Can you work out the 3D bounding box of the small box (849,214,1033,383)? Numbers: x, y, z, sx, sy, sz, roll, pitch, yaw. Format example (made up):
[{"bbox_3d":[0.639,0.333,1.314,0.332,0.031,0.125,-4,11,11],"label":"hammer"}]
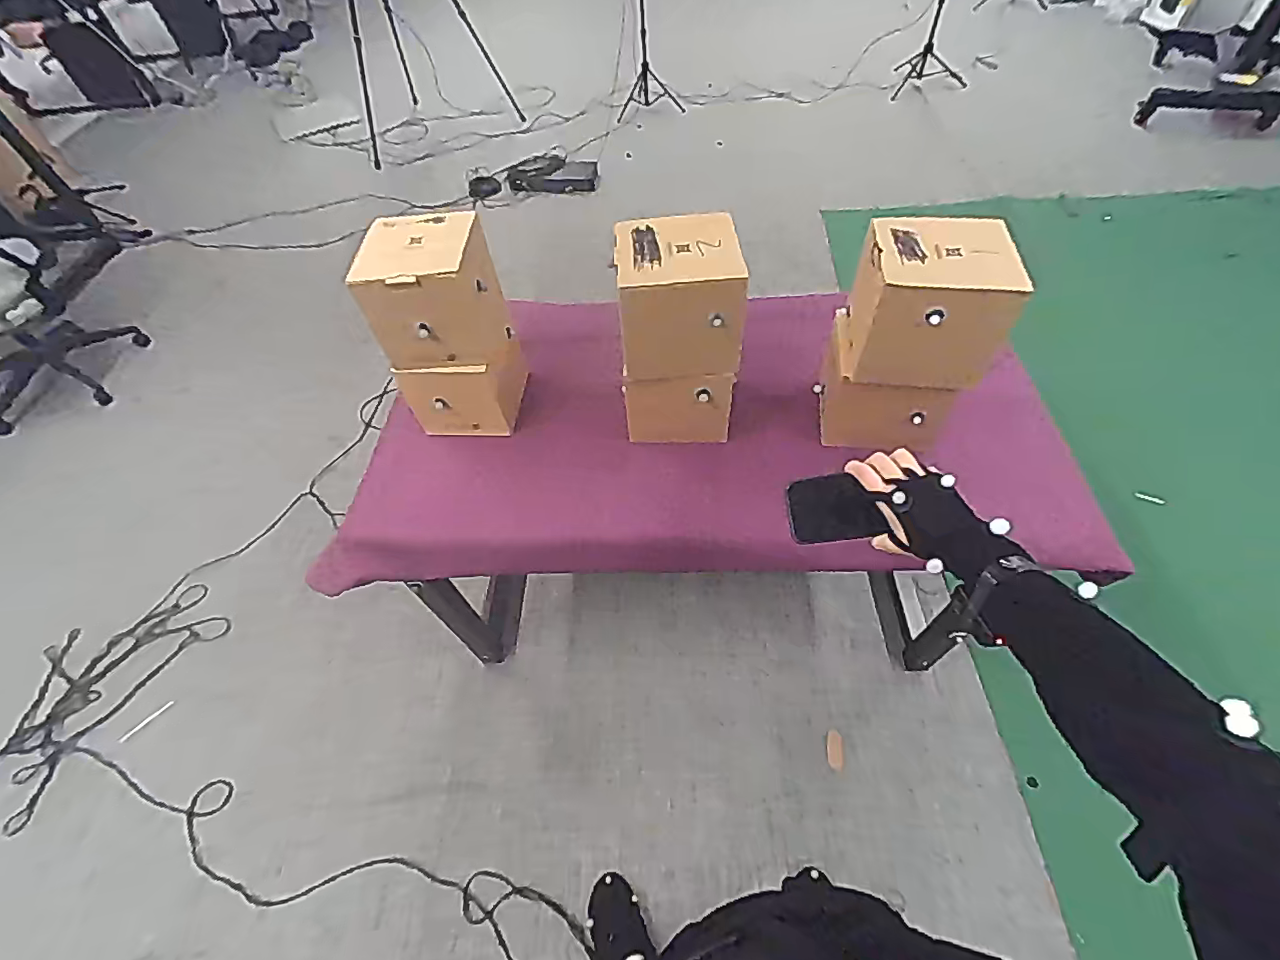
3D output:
[{"bbox_3d":[0.404,-0.254,0.767,0.179,0.176,0.168,5,54,9],"label":"small box"}]

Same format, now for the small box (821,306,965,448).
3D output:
[{"bbox_3d":[0.410,-0.169,0.908,0.179,0.176,0.168,4,54,10],"label":"small box"}]

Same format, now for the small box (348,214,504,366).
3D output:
[{"bbox_3d":[-0.329,-0.298,0.873,0.168,0.176,0.179,-4,54,2],"label":"small box"}]

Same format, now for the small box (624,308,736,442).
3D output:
[{"bbox_3d":[0.072,-0.180,0.948,0.179,0.176,0.168,0,54,6],"label":"small box"}]

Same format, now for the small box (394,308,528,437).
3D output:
[{"bbox_3d":[-0.316,-0.194,0.999,0.168,0.176,0.179,0,54,6],"label":"small box"}]
